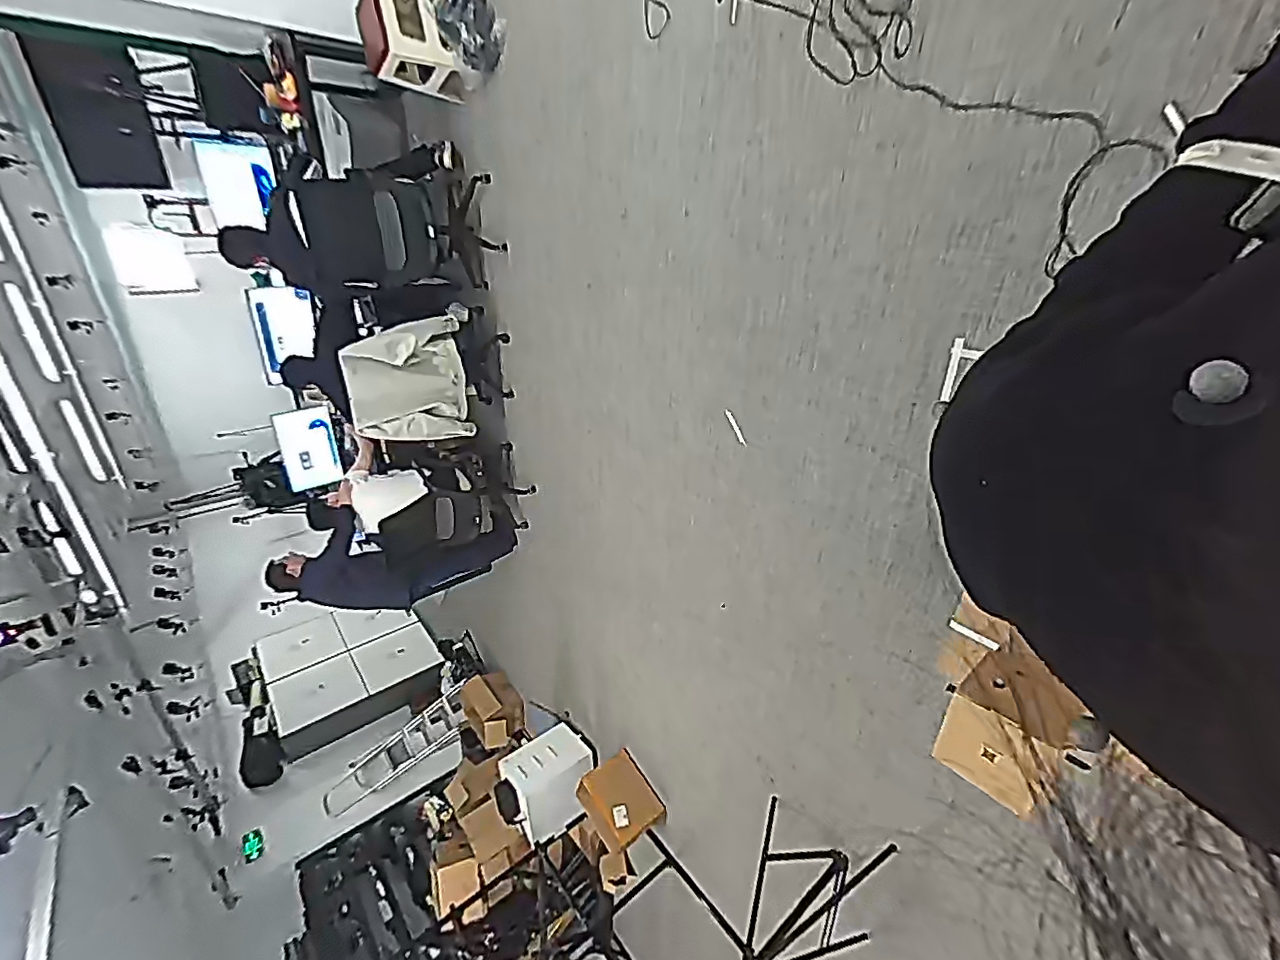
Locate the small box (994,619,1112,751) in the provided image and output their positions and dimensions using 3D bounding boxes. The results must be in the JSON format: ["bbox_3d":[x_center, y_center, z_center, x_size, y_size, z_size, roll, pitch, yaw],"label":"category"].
[{"bbox_3d":[0.812,0.420,1.096,0.168,0.176,0.179,29,126,43],"label":"small box"}]

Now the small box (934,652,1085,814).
[{"bbox_3d":[0.685,0.456,1.002,0.168,0.176,0.179,28,127,45],"label":"small box"}]
